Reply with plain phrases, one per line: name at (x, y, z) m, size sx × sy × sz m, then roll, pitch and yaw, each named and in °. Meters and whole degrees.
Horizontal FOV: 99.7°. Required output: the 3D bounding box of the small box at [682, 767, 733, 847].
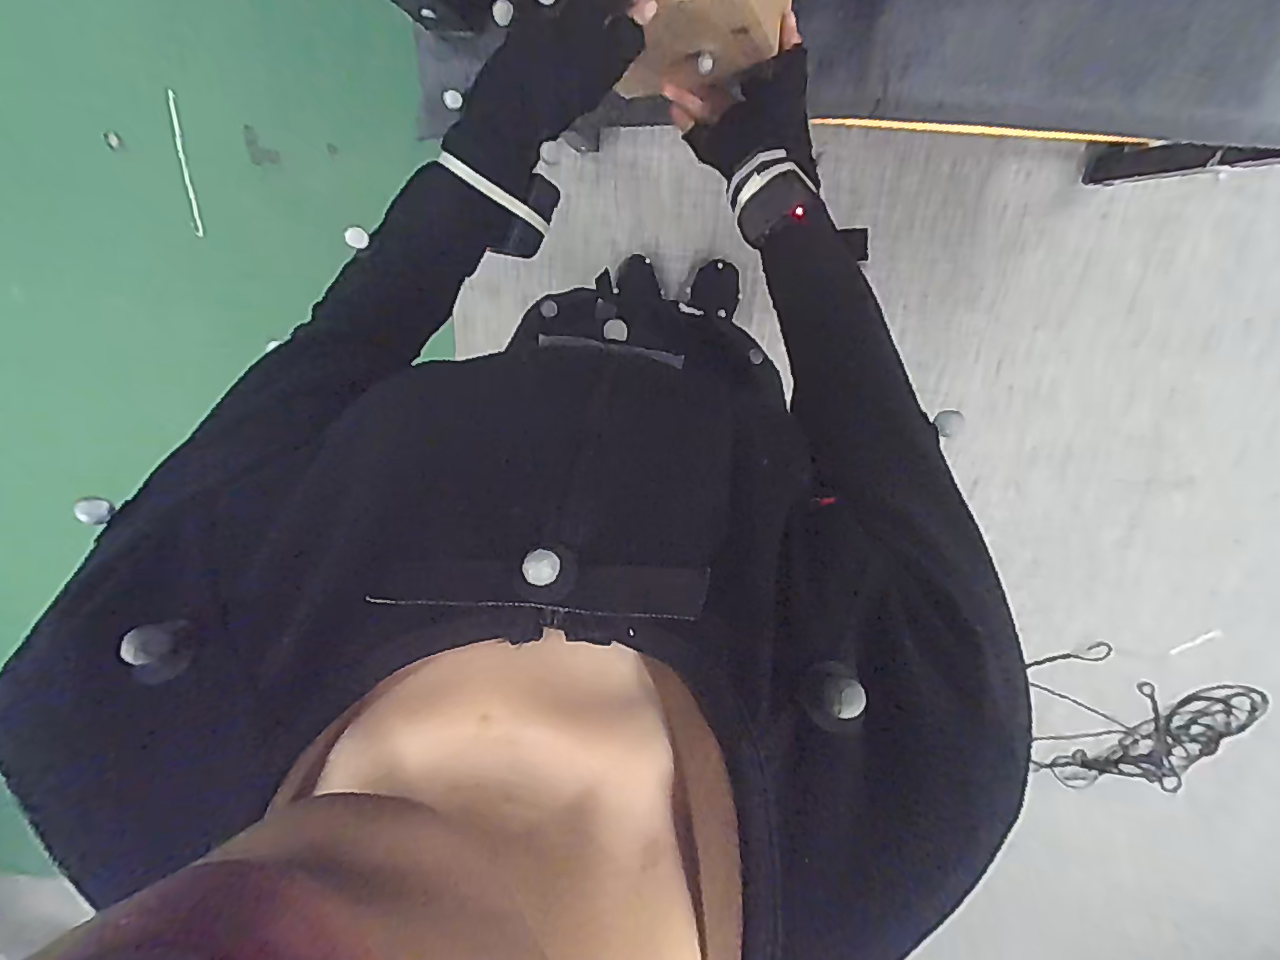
small box at (0.239, 1.166, 1.934) m, size 0.168 × 0.176 × 0.179 m, roll 3°, pitch 112°, yaw 4°
